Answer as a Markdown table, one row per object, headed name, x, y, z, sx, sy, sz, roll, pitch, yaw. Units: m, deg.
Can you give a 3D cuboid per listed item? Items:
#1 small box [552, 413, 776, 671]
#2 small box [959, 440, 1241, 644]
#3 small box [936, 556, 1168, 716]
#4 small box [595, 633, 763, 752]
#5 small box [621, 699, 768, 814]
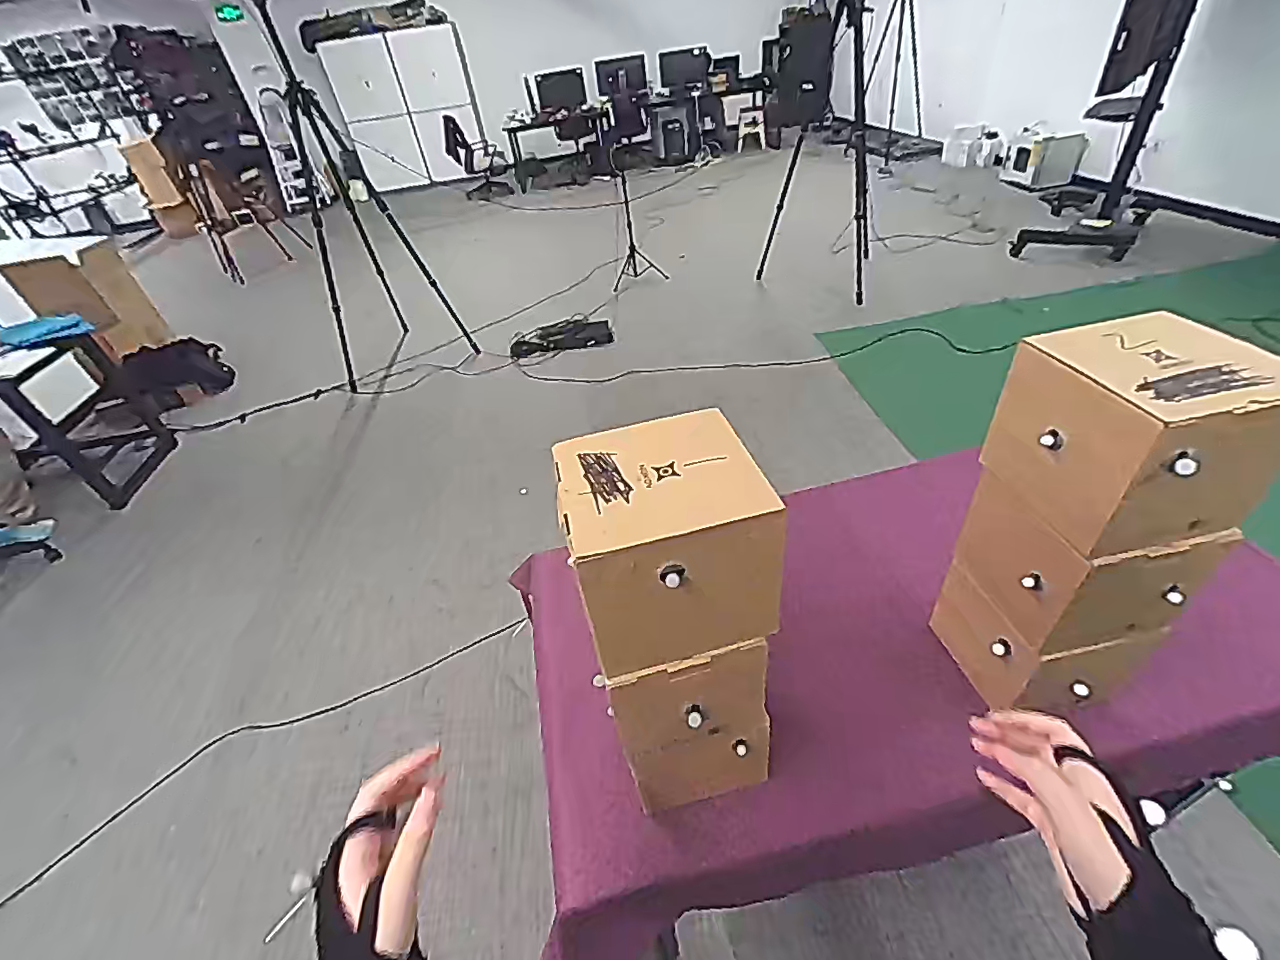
| name | x | y | z | sx | sy | sz | roll | pitch | yaw |
| --- | --- | --- | --- | --- | --- | --- | --- | --- | --- |
| small box | 0.022 | 0.061 | 0.536 | 0.179 | 0.176 | 0.168 | -13 | 38 | -6 |
| small box | 0.529 | 0.080 | 0.659 | 0.168 | 0.176 | 0.179 | -11 | 38 | -1 |
| small box | 0.553 | 0.207 | 0.758 | 0.168 | 0.176 | 0.179 | -12 | 39 | -3 |
| small box | 0.036 | 0.192 | 0.635 | 0.168 | 0.176 | 0.179 | -14 | 39 | -6 |
| small box | 0.063 | 0.319 | 0.735 | 0.179 | 0.176 | 0.168 | -14 | 39 | -5 |
